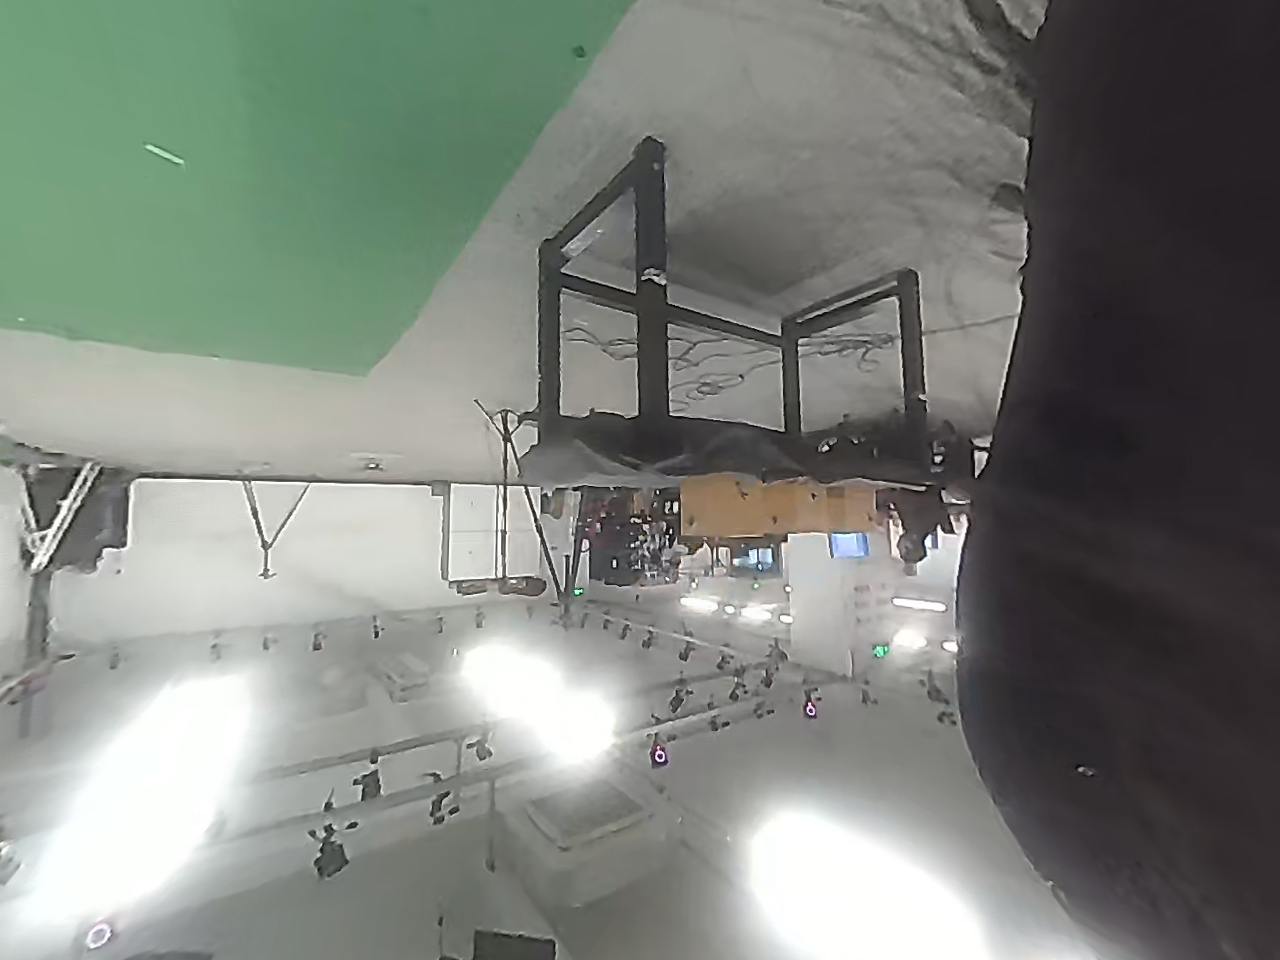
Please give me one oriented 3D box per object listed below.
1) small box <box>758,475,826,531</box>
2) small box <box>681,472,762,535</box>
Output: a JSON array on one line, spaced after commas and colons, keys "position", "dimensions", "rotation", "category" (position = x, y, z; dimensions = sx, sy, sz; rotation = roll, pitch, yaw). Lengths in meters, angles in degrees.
[{"position": [0.476, 0.078, 1.732], "dimensions": [0.168, 0.176, 0.179], "rotation": [3, 174, -37], "category": "small box"}, {"position": [0.234, 0.071, 1.557], "dimensions": [0.168, 0.176, 0.179], "rotation": [2, 175, -37], "category": "small box"}]
